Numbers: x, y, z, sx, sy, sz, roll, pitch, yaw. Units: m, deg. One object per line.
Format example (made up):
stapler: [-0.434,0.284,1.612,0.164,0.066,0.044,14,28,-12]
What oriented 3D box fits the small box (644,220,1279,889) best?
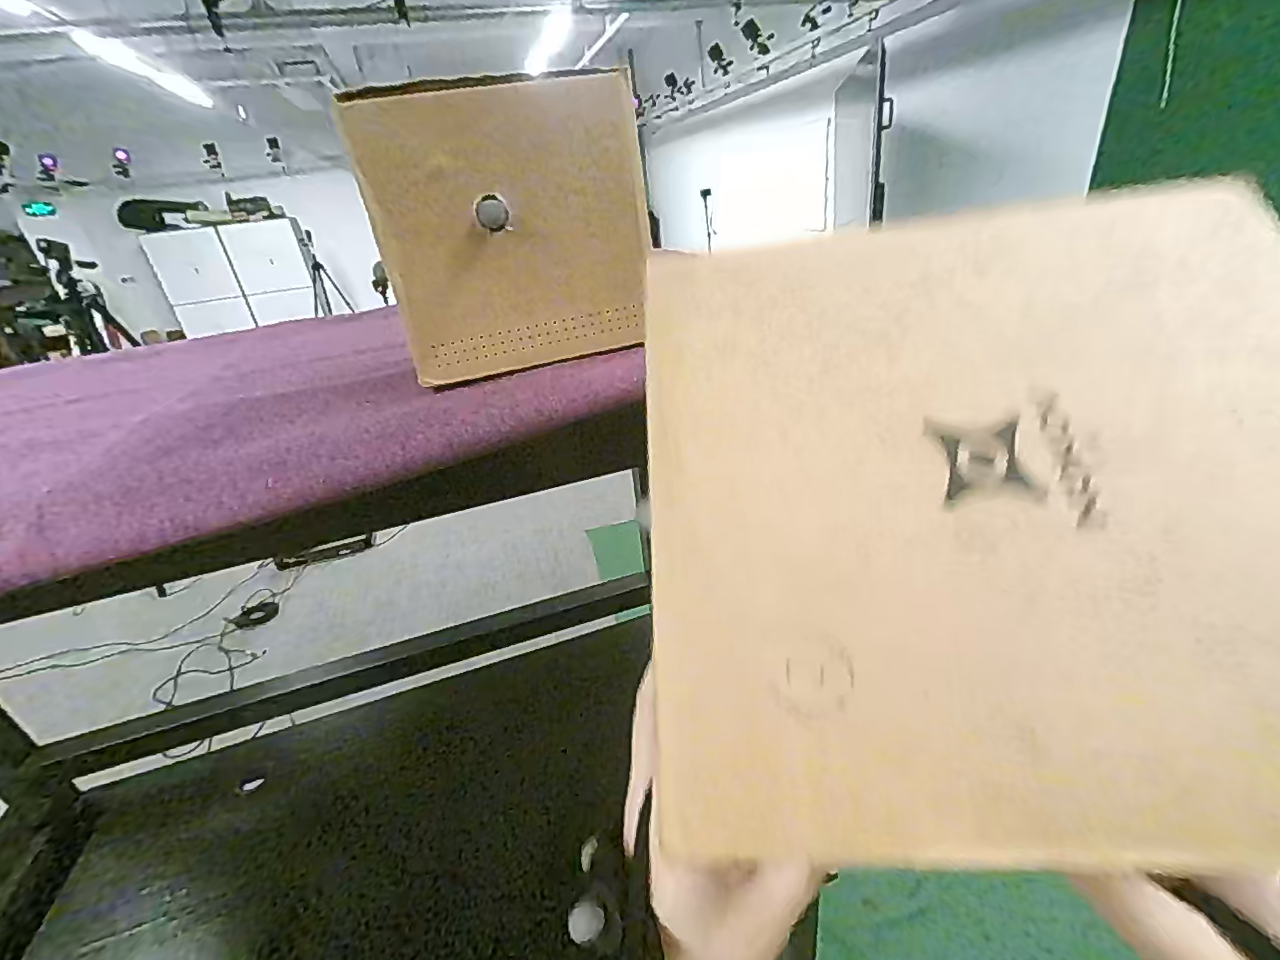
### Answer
small box: [0.101,0.038,0.207,0.179,0.176,0.168,-4,64,7]

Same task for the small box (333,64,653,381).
small box: [-0.096,-0.184,0.416,0.179,0.176,0.168,-15,26,-11]
